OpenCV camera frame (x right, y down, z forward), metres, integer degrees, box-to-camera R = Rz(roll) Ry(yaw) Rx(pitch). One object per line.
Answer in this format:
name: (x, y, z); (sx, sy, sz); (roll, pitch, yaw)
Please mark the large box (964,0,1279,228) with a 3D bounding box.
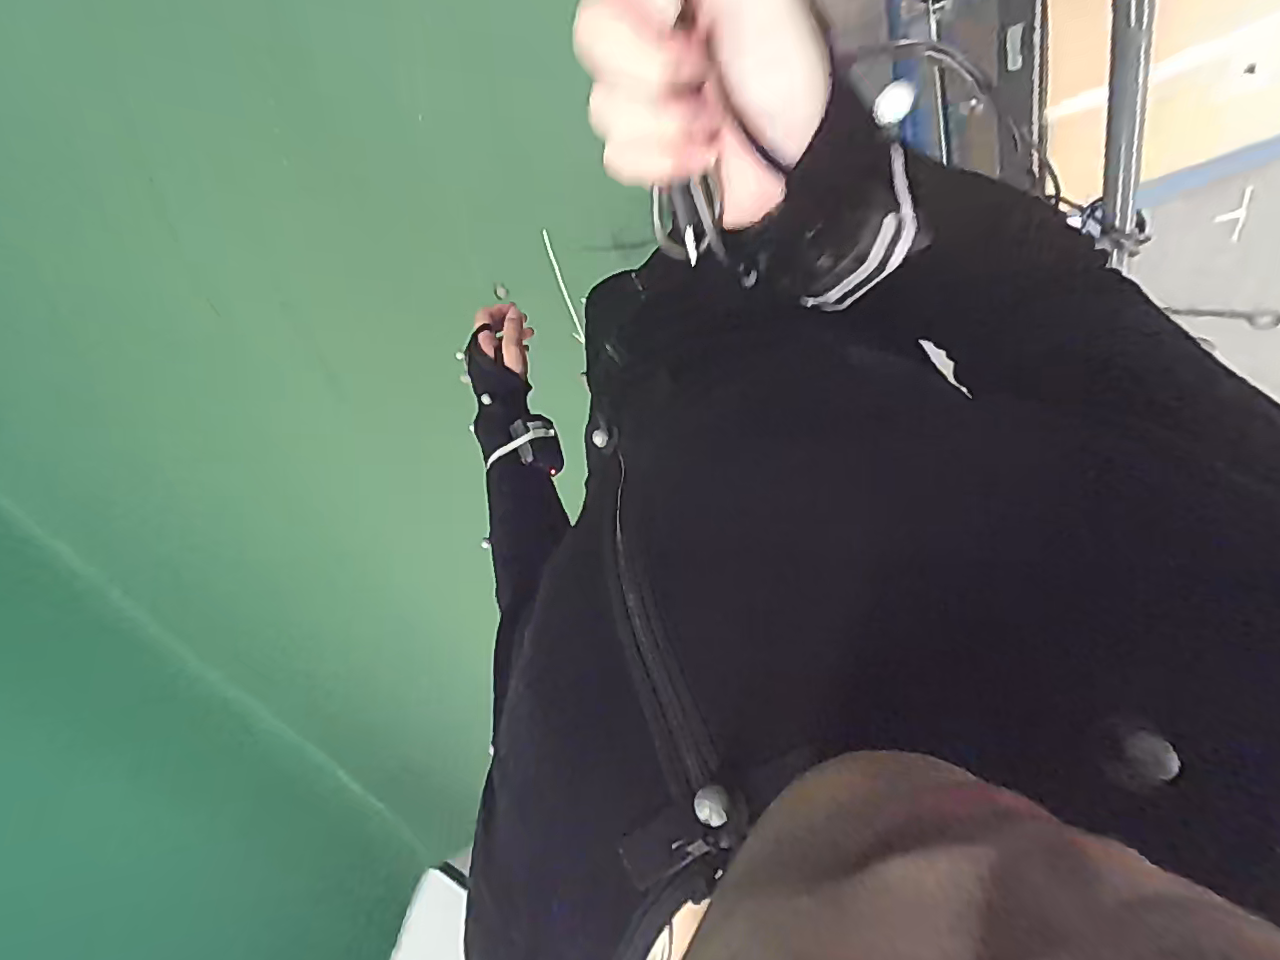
large box: (0.826, -0.673, 0.915); (0.408, 0.320, 0.320); (-13, 123, 13)
